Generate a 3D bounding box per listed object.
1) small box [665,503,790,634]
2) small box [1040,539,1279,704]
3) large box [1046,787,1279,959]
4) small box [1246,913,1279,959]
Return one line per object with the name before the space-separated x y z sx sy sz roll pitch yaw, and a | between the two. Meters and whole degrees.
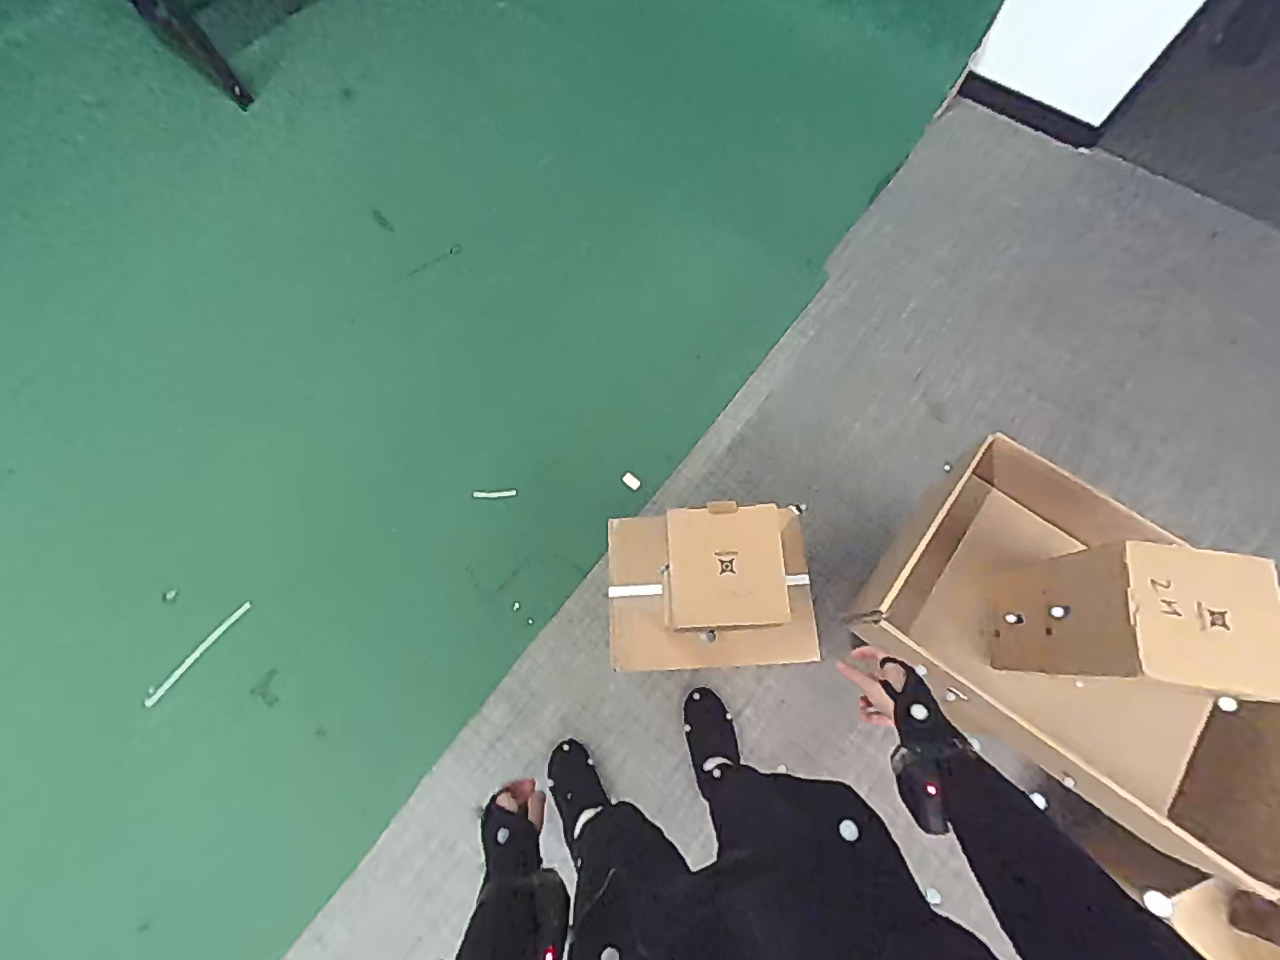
small box | 0.125 0.143 0.842 0.168 0.176 0.179 -2 72 2
small box | 0.667 0.184 0.700 0.179 0.176 0.168 8 72 5
large box | 1.095 0.872 1.005 0.320 0.320 0.408 -21 74 -5
small box | 1.081 0.755 0.787 0.179 0.176 0.168 -17 73 -5
